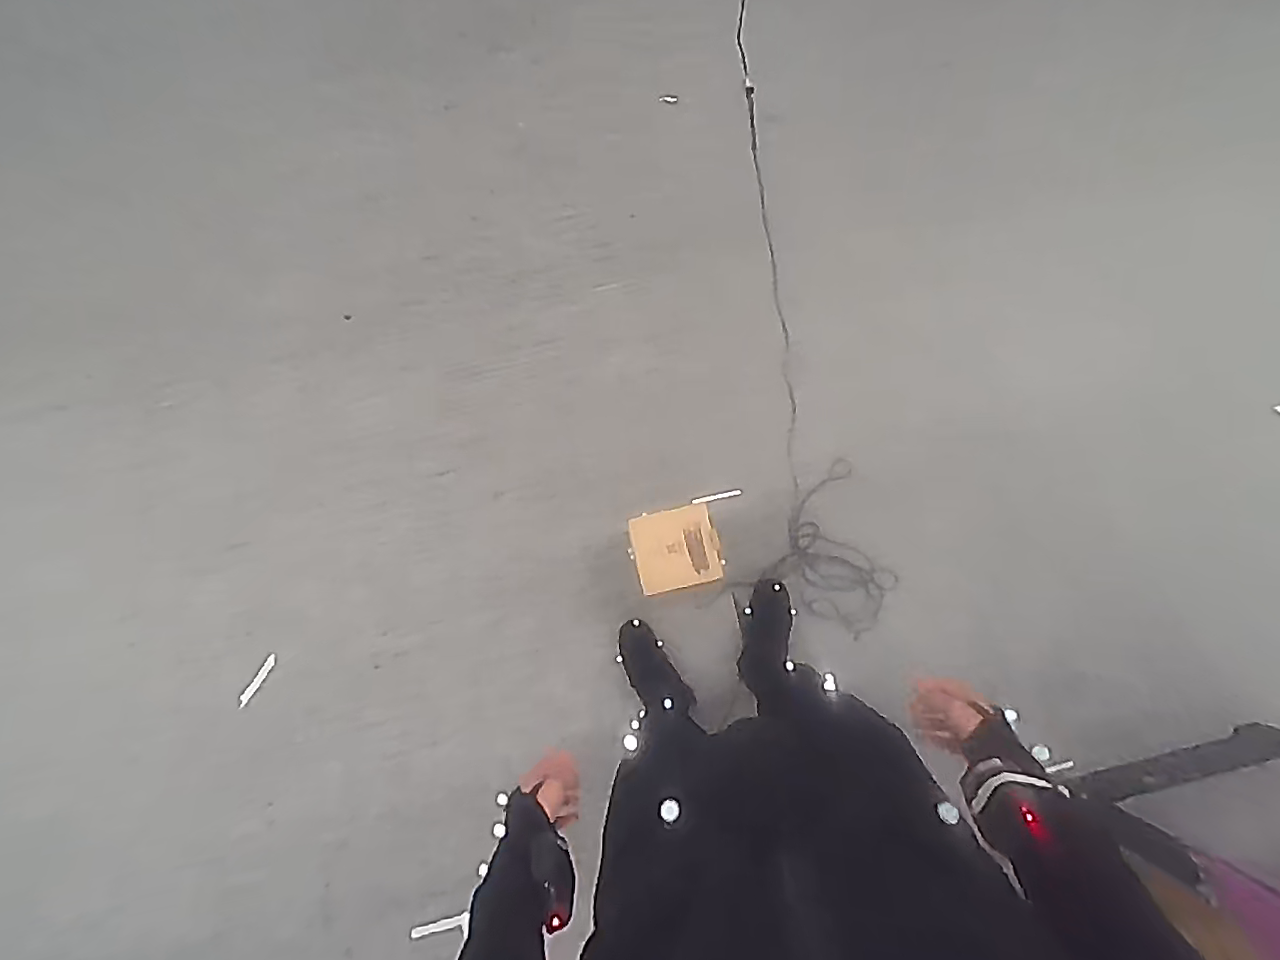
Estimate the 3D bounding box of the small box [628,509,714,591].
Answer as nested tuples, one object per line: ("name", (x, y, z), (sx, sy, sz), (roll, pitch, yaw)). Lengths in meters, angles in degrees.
("small box", (0.078, 0.181, 1.376), (0.179, 0.176, 0.168), (-15, 82, 0))
